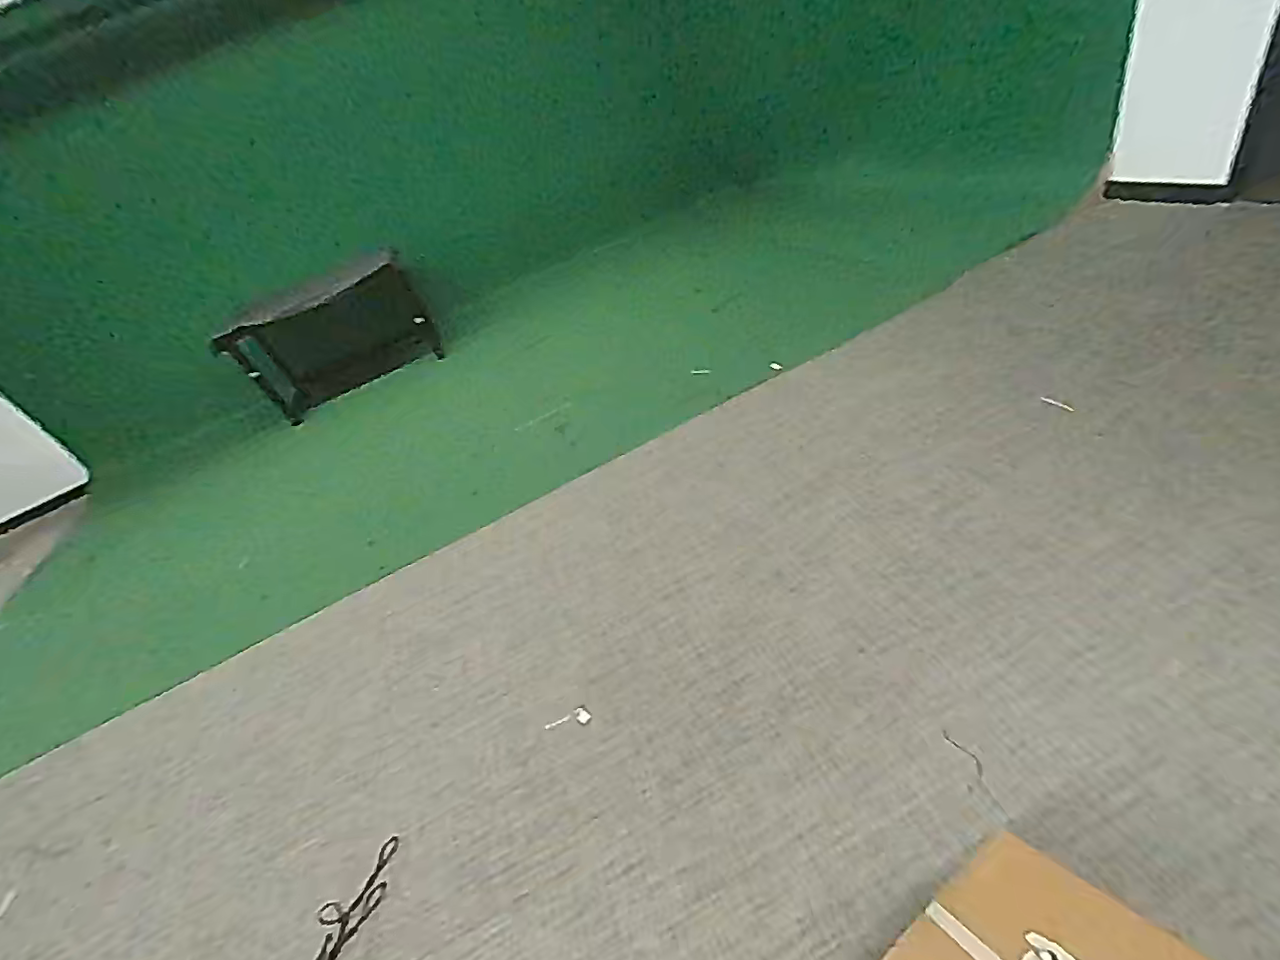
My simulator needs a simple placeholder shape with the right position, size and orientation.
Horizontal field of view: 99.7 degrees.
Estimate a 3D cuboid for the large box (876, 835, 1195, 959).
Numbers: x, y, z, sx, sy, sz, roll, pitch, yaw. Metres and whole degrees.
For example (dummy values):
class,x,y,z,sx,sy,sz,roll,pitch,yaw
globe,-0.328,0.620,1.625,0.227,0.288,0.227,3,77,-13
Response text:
class,x,y,z,sx,sy,sz,roll,pitch,yaw
large box,0.519,0.701,0.561,0.320,0.320,0.408,-34,5,-14
